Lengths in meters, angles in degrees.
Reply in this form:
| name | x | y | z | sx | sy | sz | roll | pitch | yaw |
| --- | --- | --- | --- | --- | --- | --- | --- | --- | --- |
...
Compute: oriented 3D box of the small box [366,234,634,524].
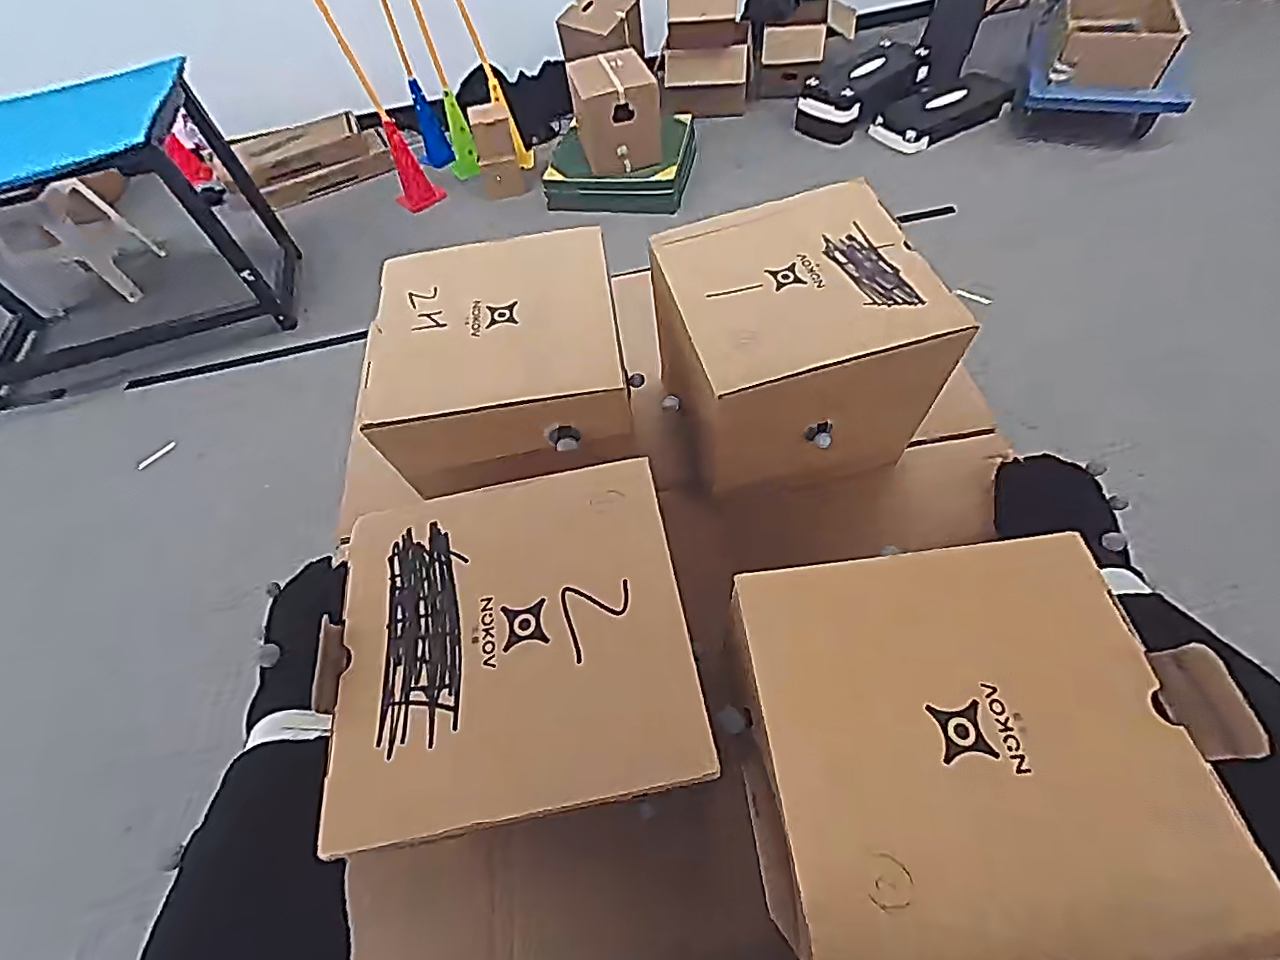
| name | x | y | z | sx | sy | sz | roll | pitch | yaw |
| --- | --- | --- | --- | --- | --- | --- | --- | --- | --- |
| small box | -0.101 | -0.077 | 0.468 | 0.179 | 0.176 | 0.168 | -9 | 60 | 2 |
